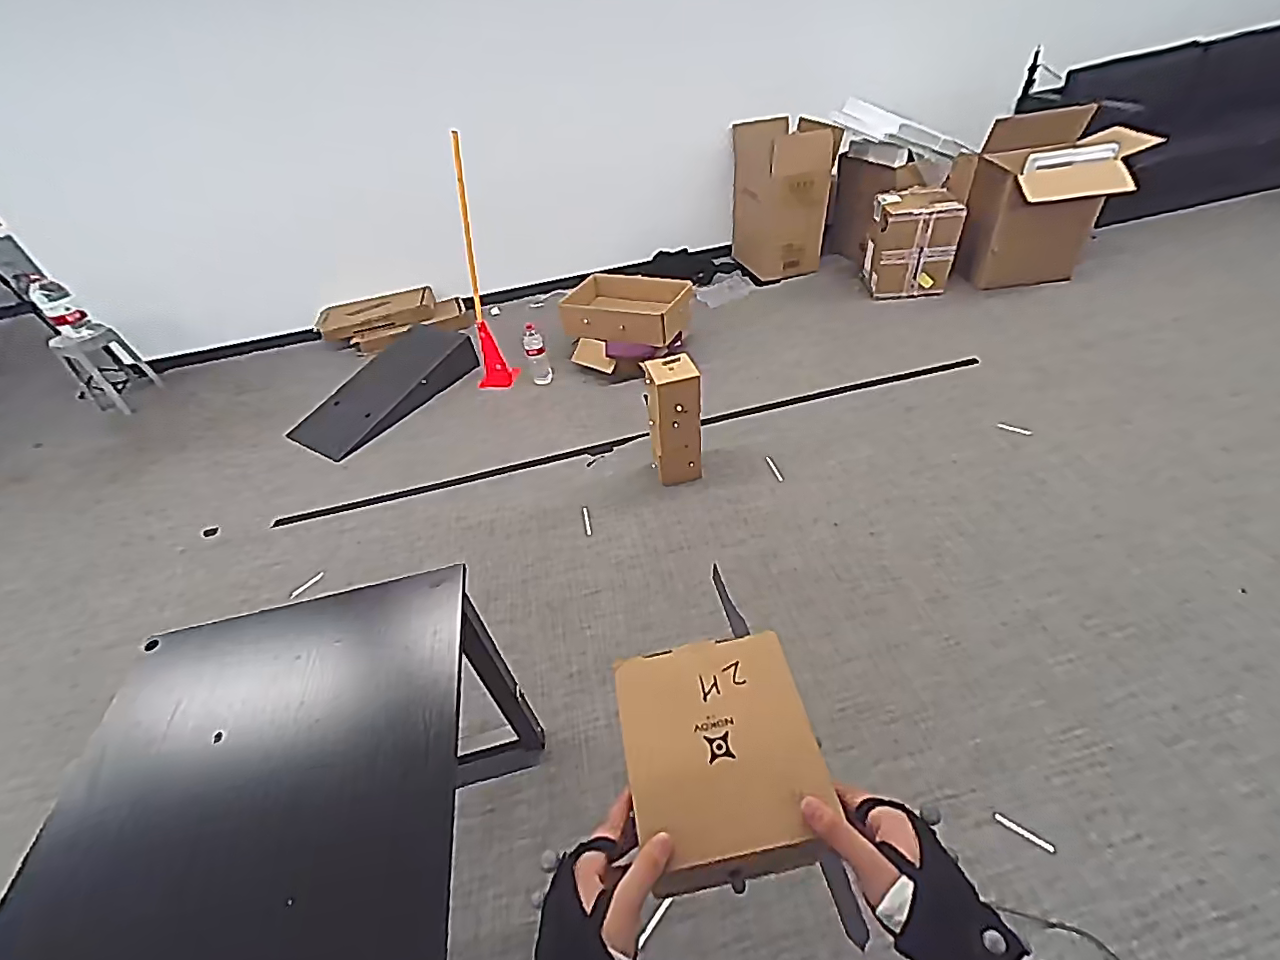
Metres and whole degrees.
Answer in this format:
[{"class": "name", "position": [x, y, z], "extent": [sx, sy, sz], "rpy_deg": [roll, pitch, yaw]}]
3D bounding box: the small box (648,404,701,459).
[{"class": "small box", "position": [0.137, -0.208, 2.147], "extent": [0.168, 0.176, 0.179], "rpy_deg": [-14, 40, -6]}]

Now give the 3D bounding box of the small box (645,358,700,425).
[{"class": "small box", "position": [0.122, -0.332, 2.040], "extent": [0.168, 0.176, 0.179], "rpy_deg": [-14, 42, -6]}]

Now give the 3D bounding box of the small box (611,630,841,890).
[{"class": "small box", "position": [0.074, 0.279, 0.532], "extent": [0.168, 0.176, 0.179], "rpy_deg": [-11, 46, -3]}]

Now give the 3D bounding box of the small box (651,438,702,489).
[{"class": "small box", "position": [0.154, -0.086, 2.255], "extent": [0.179, 0.176, 0.168], "rpy_deg": [-14, 41, -4]}]
